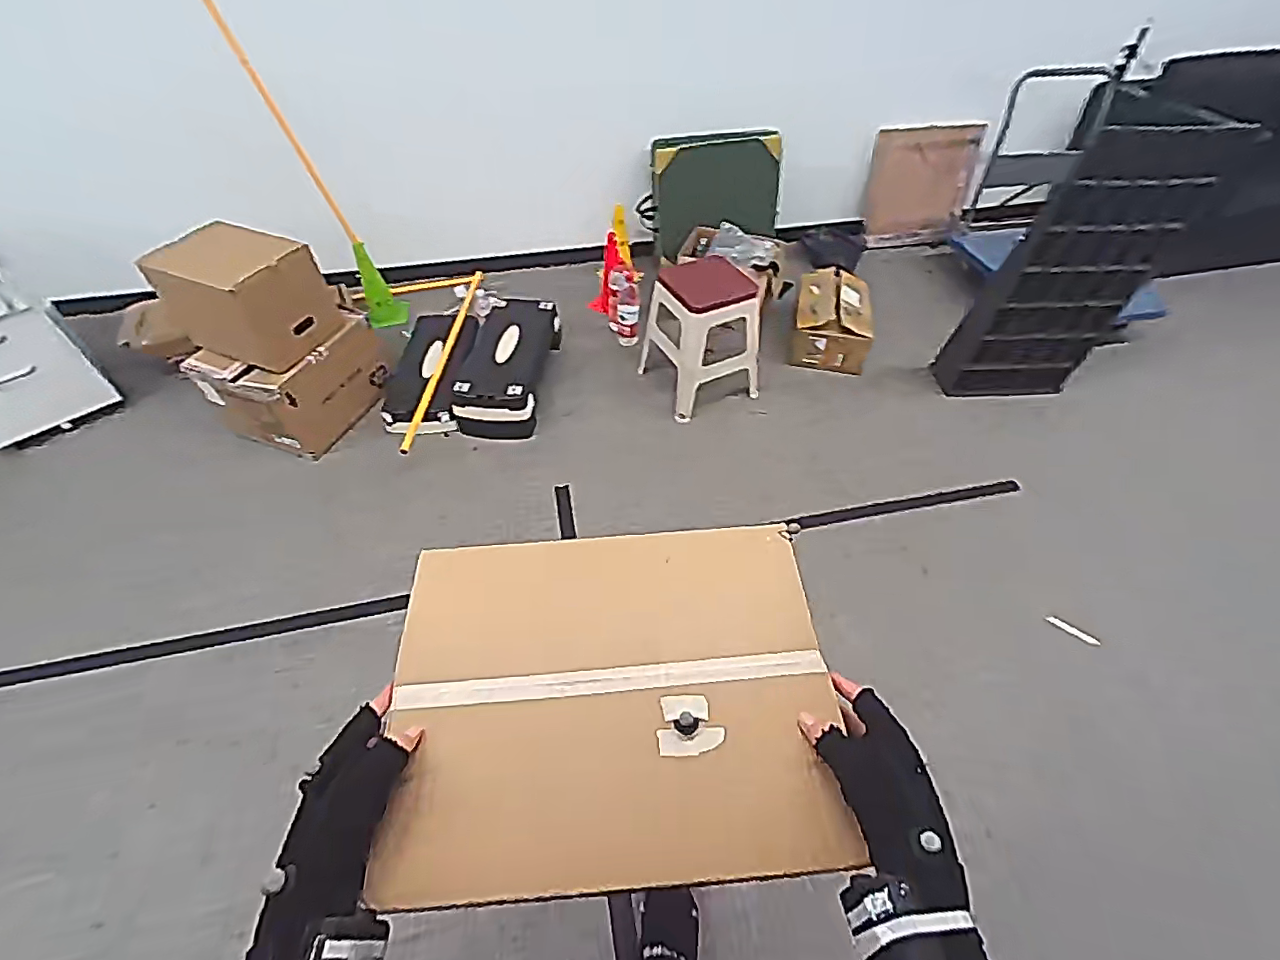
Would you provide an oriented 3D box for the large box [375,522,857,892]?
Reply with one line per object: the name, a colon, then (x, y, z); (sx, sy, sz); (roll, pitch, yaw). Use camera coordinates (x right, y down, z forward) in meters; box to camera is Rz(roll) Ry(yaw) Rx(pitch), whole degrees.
large box: (-0.027, 0.276, 0.643); (0.408, 0.320, 0.320); (-4, 53, -2)
